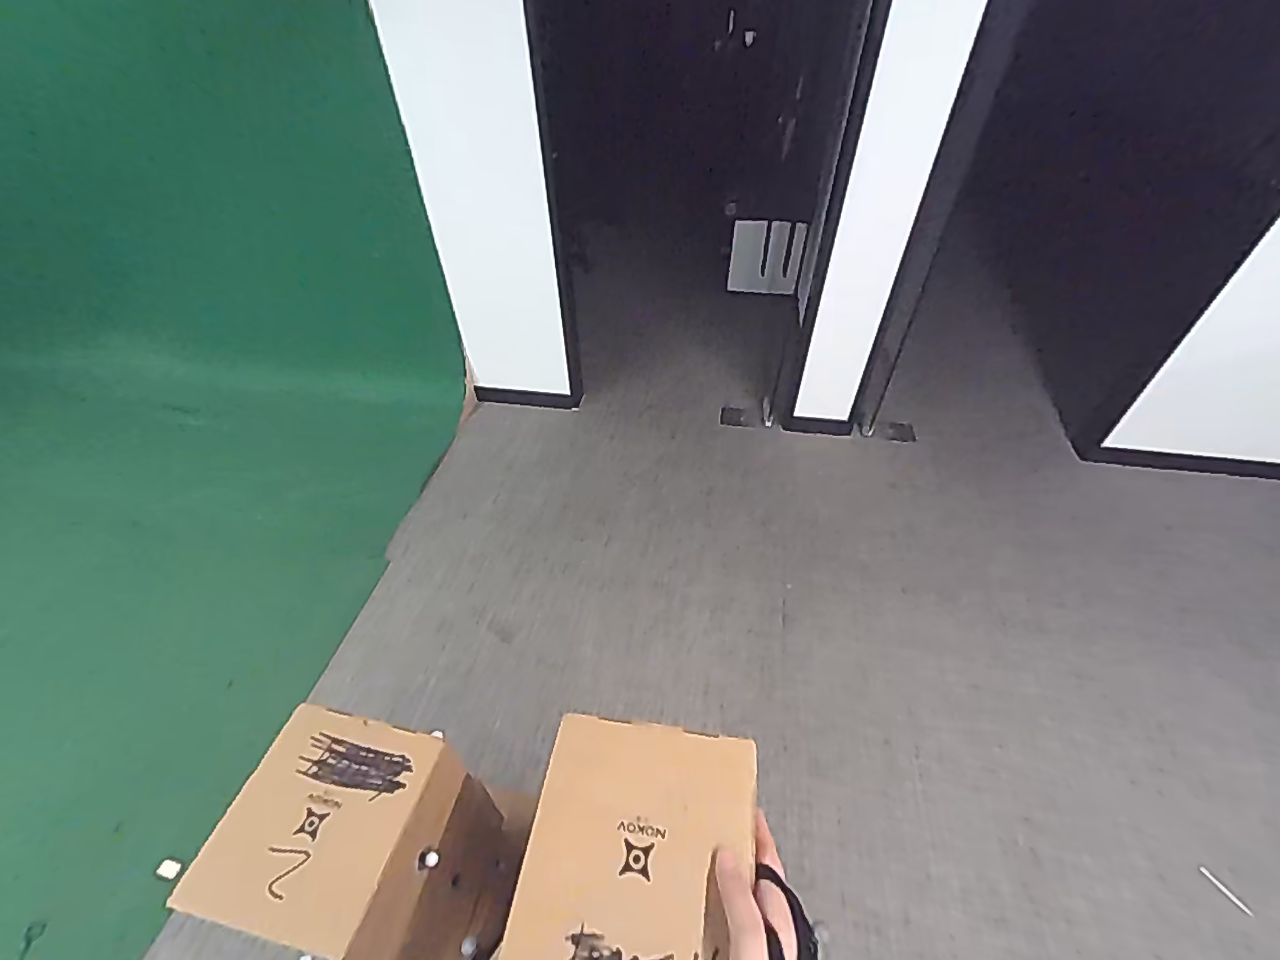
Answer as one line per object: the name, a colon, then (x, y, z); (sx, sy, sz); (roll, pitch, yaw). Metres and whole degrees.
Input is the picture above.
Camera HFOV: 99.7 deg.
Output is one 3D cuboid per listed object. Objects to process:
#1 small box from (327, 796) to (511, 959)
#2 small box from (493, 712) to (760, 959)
small box: (-0.298, 0.592, 0.780); (0.168, 0.176, 0.179); (8, 45, 7)
small box: (0.003, 0.324, 0.446); (0.168, 0.176, 0.179); (5, 45, 11)
